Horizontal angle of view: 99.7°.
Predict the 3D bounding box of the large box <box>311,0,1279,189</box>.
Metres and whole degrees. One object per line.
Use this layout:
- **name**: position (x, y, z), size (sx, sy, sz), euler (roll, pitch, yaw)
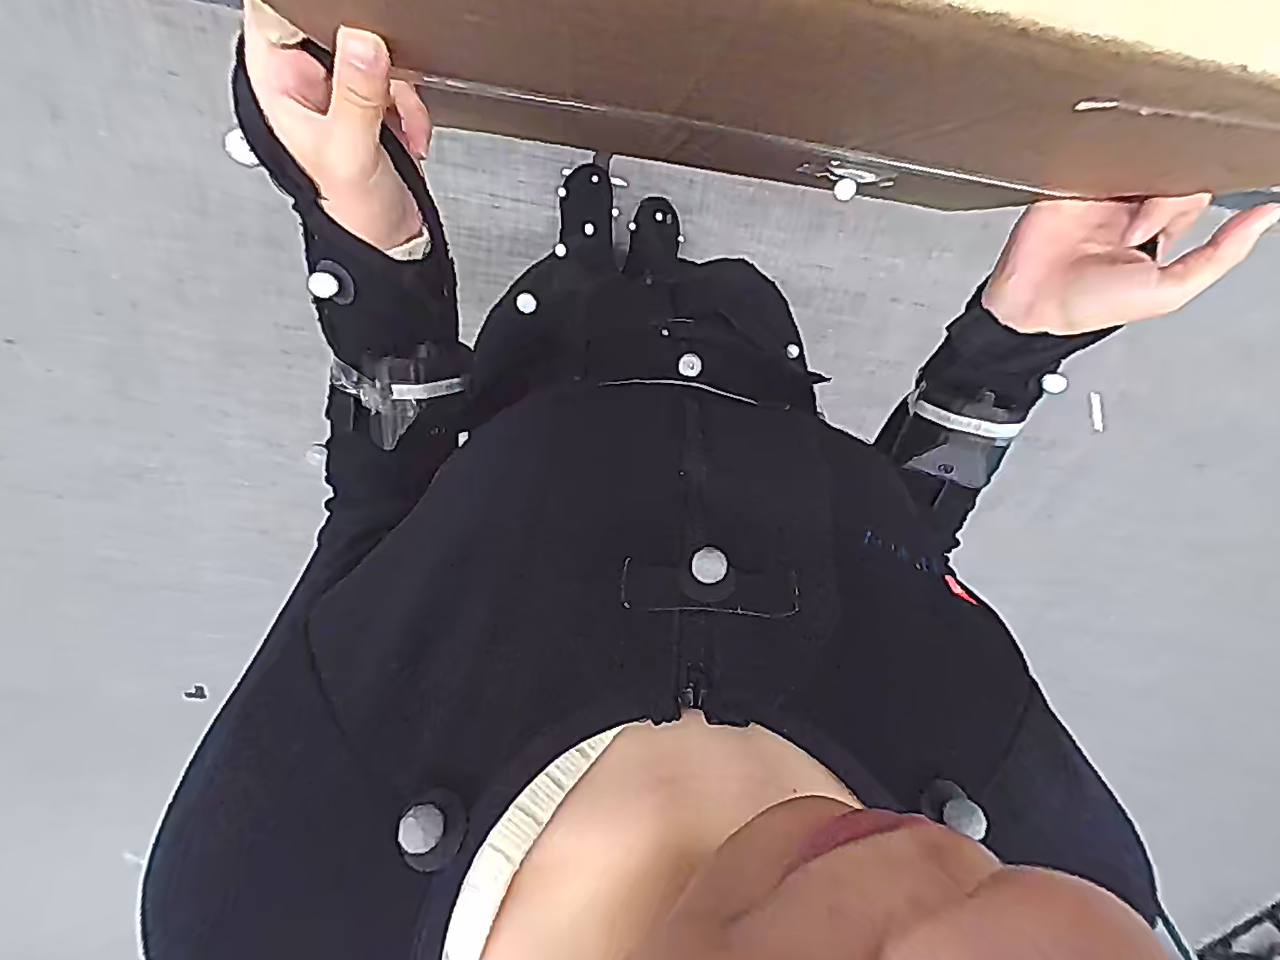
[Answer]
- **large box**: position (0.083, -0.319, 0.200), size (0.408, 0.320, 0.320), euler (4, 115, -8)
